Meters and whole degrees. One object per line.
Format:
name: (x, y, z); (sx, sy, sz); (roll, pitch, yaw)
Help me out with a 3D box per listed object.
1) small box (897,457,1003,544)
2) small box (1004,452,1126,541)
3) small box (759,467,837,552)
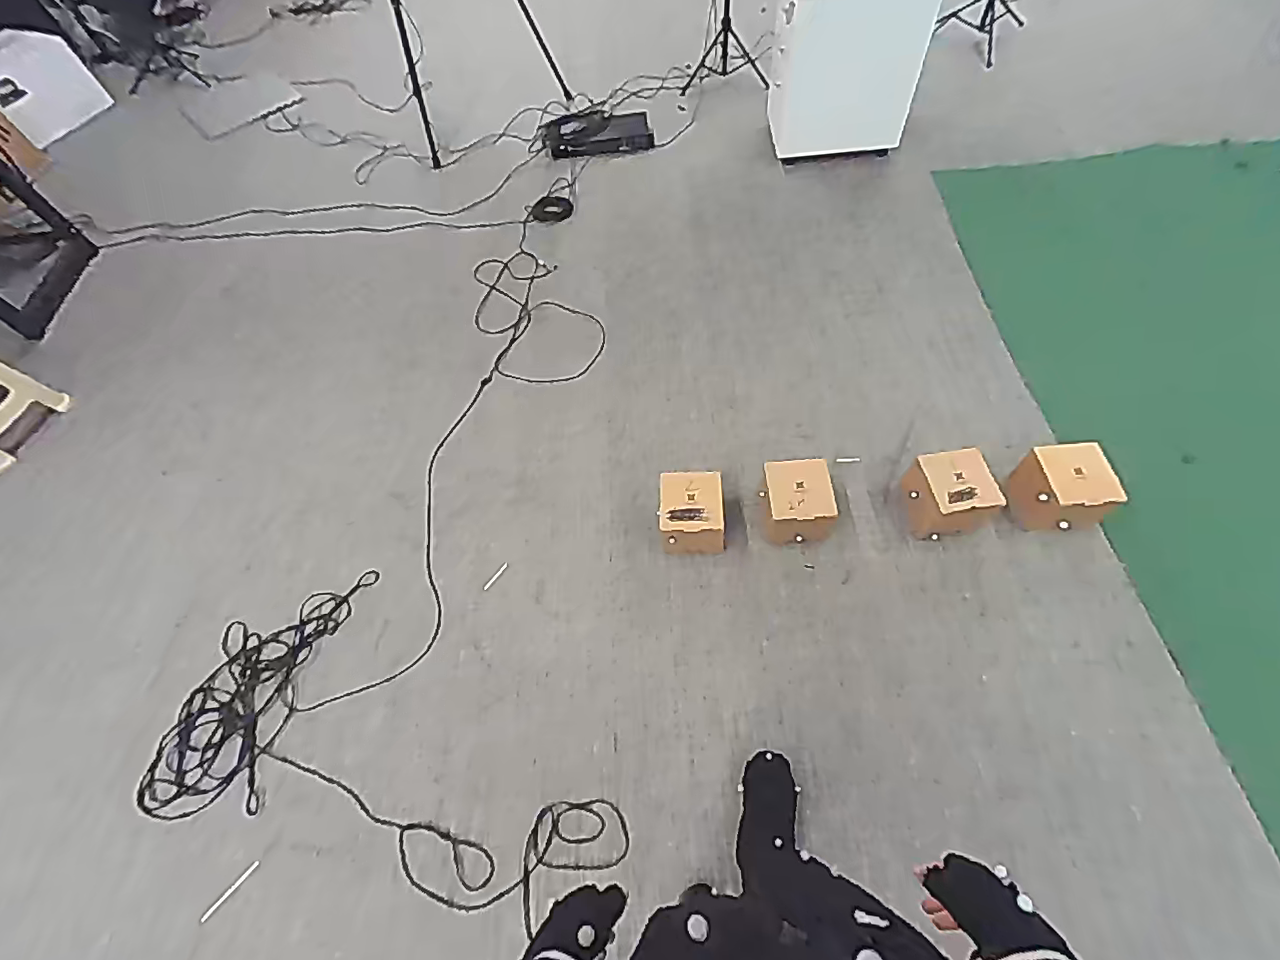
small box: (0.827, 0.063, 1.462); (0.168, 0.176, 0.179); (-8, 58, 0)
small box: (1.119, 0.048, 1.446); (0.168, 0.176, 0.179); (-5, 59, 3)
small box: (0.426, 0.082, 1.486); (0.168, 0.176, 0.179); (-4, 59, 5)
